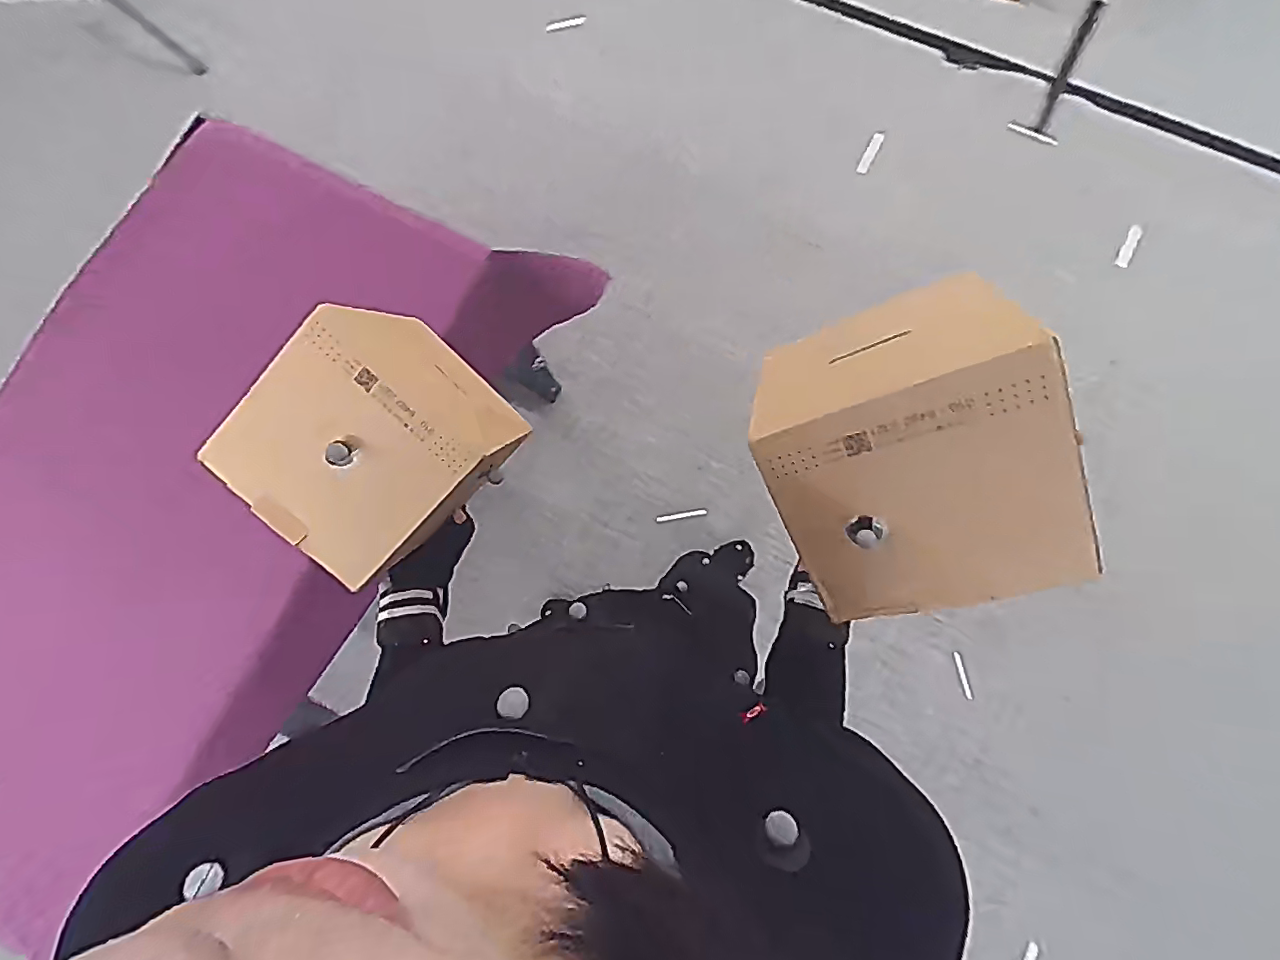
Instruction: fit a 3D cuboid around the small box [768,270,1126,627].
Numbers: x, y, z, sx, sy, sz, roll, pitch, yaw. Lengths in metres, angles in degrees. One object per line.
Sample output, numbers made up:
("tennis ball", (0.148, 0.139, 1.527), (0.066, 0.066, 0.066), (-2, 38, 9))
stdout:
("small box", (0.199, -0.027, 0.389), (0.168, 0.179, 0.176), (-17, 115, 25))
